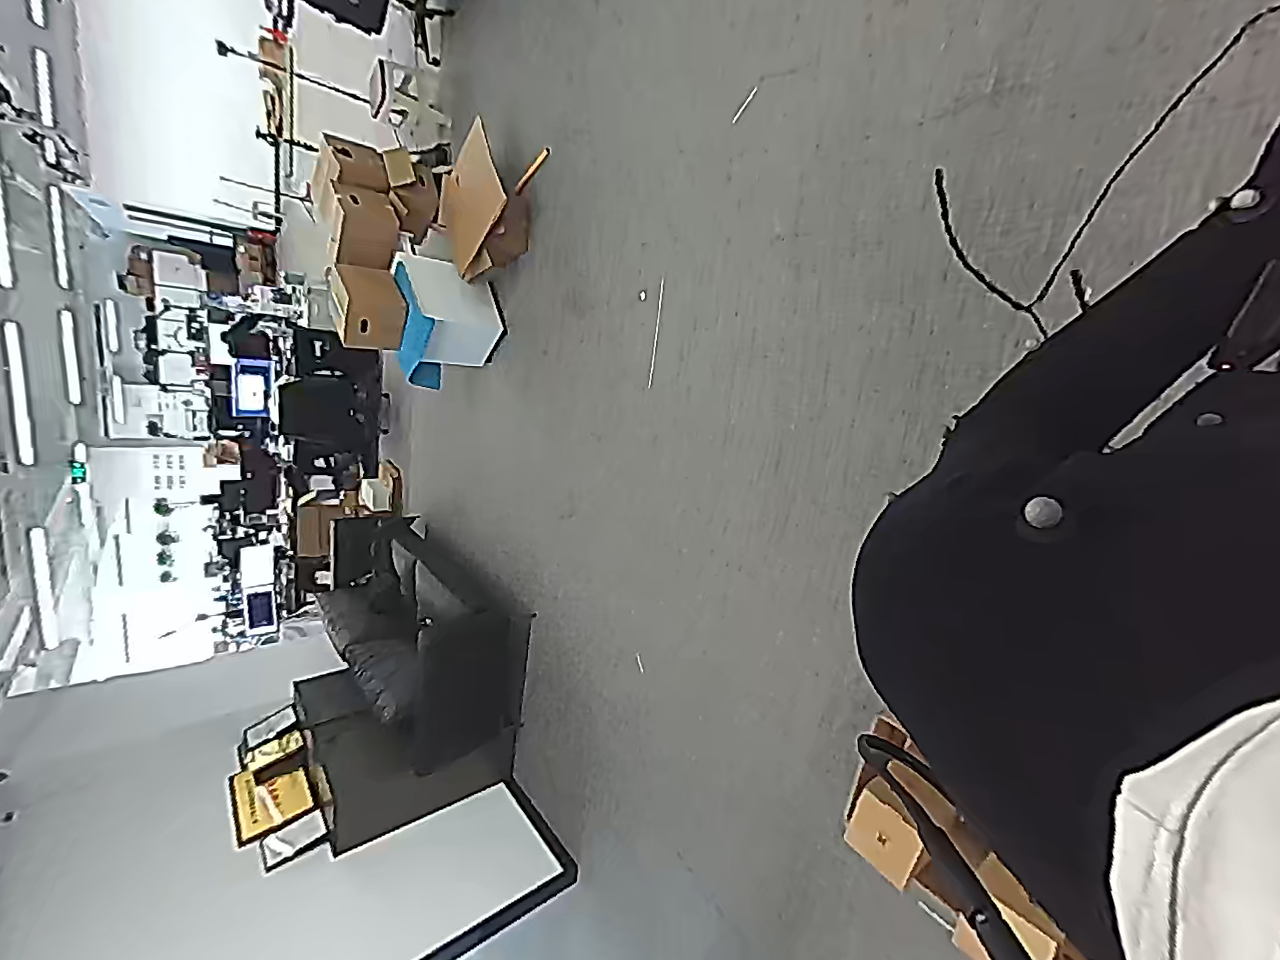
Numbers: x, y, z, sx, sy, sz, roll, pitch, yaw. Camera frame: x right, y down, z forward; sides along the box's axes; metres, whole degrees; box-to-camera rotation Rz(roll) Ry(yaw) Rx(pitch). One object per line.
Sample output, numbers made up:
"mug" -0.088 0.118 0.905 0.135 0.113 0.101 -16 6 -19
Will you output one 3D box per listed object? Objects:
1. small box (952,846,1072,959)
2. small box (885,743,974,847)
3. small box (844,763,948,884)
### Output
"small box" 0.838 0.980 1.215 0.168 0.176 0.179 21 108 48
"small box" 0.791 0.871 1.514 0.179 0.176 0.168 30 114 44
"small box" 0.669 0.882 1.407 0.168 0.176 0.179 30 115 45
